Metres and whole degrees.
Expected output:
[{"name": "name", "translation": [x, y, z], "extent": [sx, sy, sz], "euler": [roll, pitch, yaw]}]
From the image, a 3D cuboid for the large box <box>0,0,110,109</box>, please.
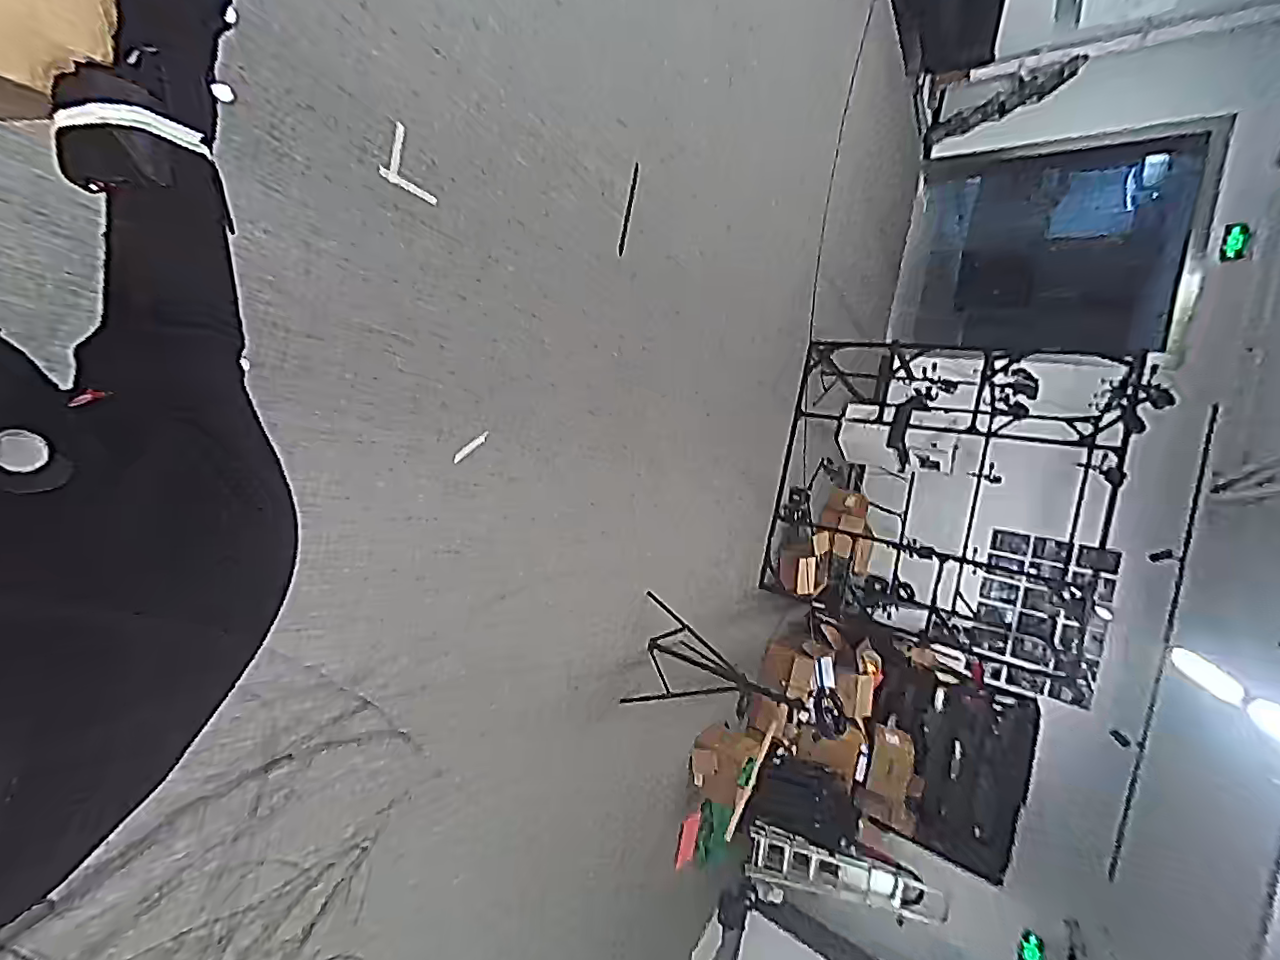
[{"name": "large box", "translation": [-0.573, -0.443, 0.257], "extent": [0.408, 0.320, 0.320], "euler": [-6, 114, -59]}]
